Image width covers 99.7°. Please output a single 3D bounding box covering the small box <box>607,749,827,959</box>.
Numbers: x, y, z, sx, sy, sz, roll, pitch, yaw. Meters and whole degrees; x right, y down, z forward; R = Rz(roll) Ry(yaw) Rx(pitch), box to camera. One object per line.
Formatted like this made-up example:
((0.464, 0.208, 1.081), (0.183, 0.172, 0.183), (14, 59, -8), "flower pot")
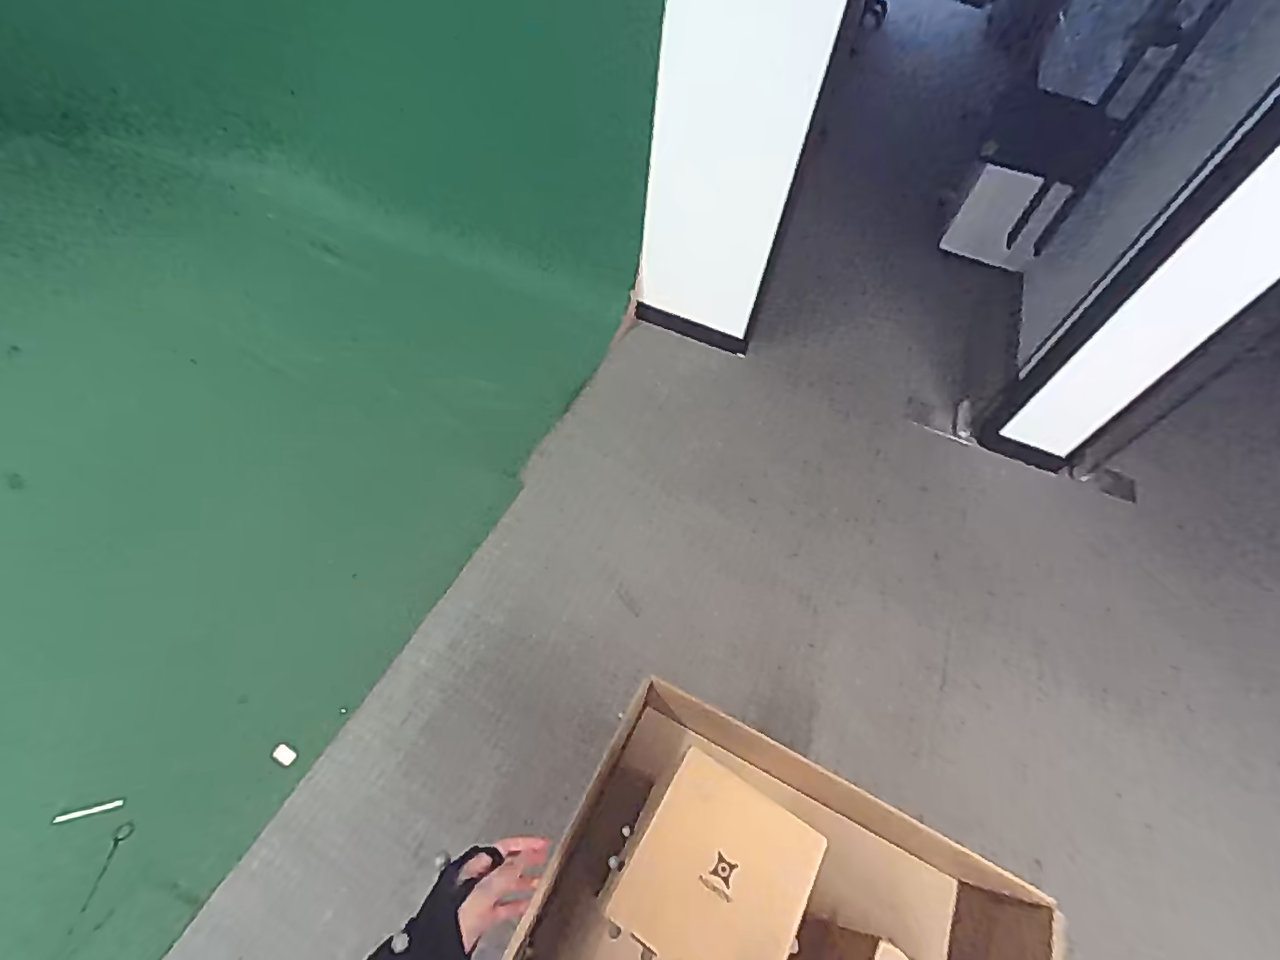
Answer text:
((0.072, 0.435, 0.593), (0.168, 0.176, 0.179), (30, 57, 15), "small box")
